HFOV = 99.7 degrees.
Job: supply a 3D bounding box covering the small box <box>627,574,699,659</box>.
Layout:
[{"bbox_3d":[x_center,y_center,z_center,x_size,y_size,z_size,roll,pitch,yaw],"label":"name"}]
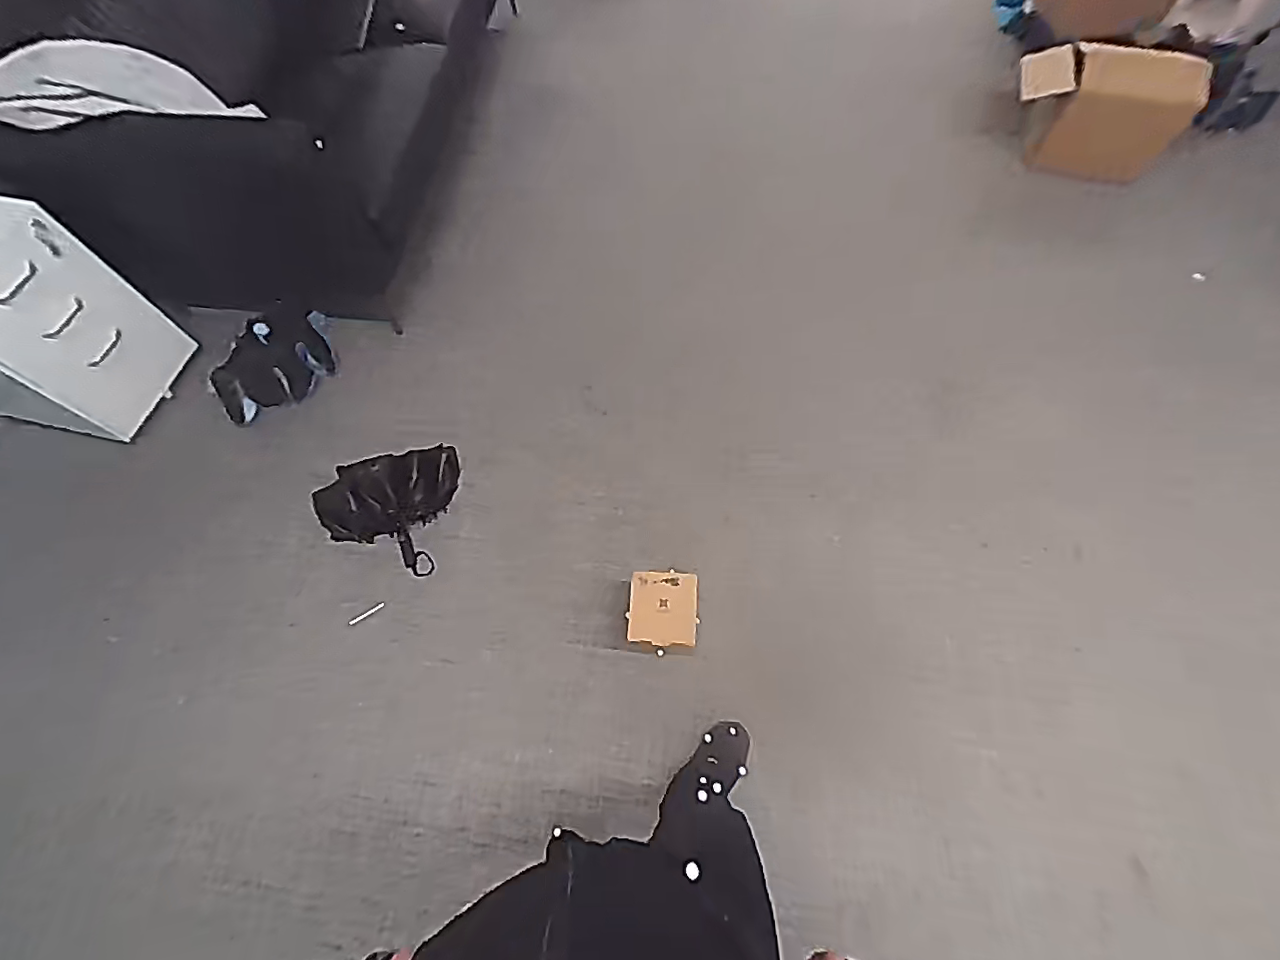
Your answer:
[{"bbox_3d":[0.060,0.353,1.379,0.168,0.176,0.179,4,65,3],"label":"small box"}]
